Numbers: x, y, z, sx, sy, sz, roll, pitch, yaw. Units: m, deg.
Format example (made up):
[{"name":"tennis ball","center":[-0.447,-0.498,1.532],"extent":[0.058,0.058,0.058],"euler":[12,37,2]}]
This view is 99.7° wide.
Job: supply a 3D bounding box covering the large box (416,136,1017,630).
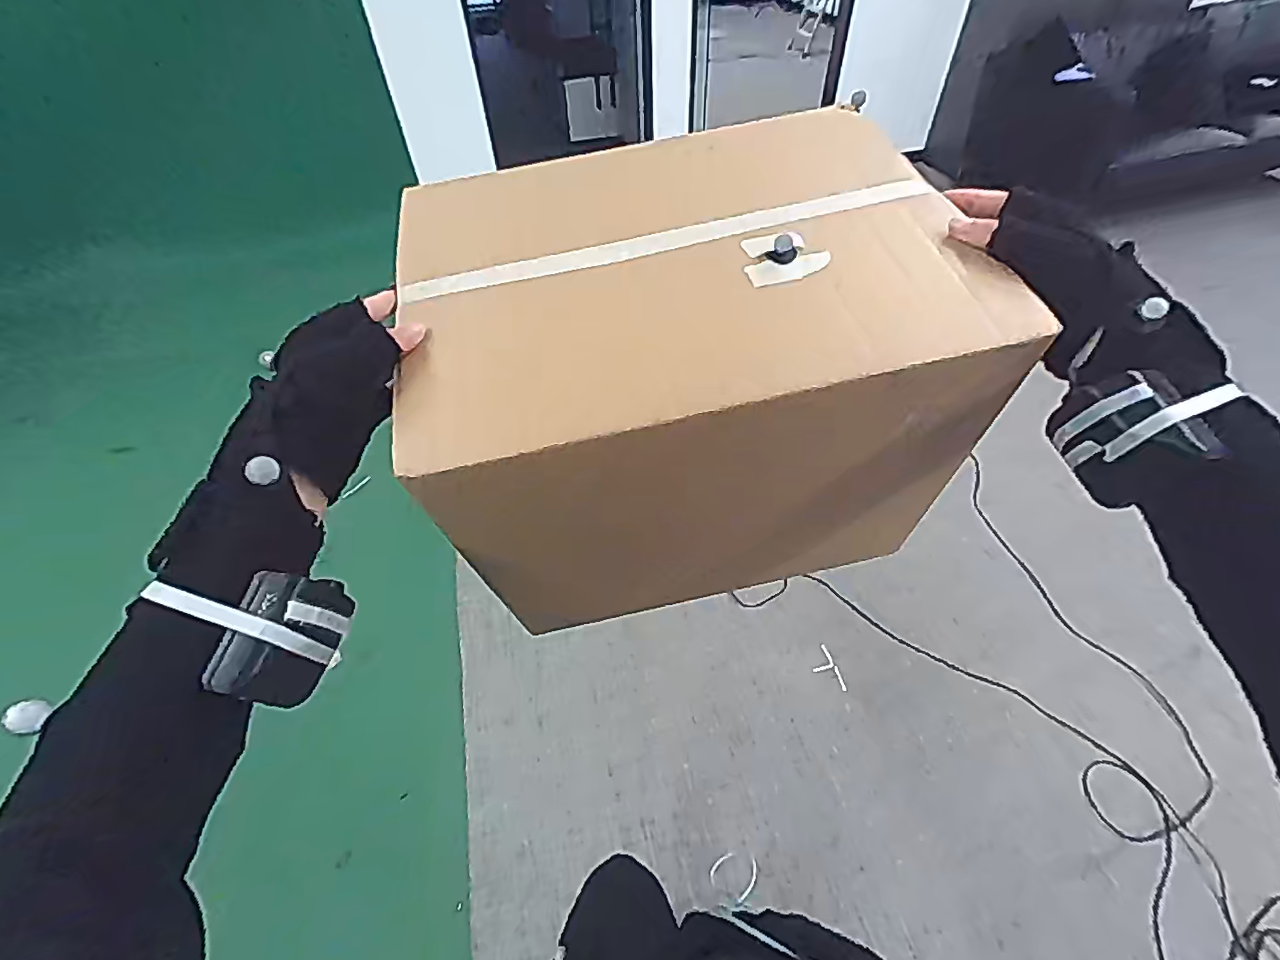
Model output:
[{"name":"large box","center":[0.034,-0.084,0.544],"extent":[0.408,0.320,0.320],"euler":[-12,57,-3]}]
